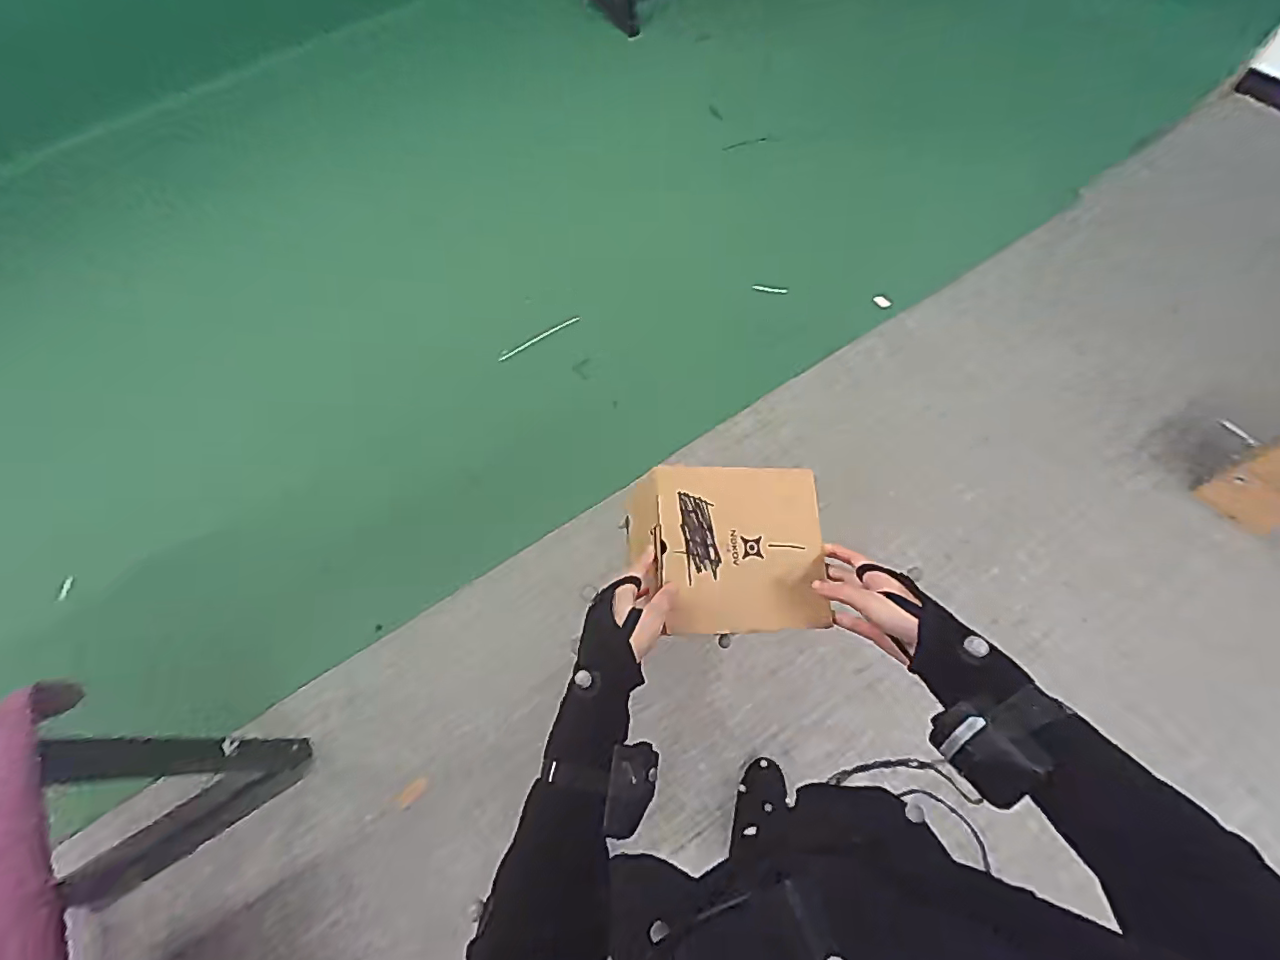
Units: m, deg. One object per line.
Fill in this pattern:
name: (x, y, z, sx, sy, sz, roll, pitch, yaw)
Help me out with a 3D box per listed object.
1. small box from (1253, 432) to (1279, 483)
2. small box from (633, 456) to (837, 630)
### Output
small box: (1.571, -0.064, 1.219, 0.179, 0.176, 0.168, -35, 66, -11)
small box: (0.089, 0.080, 0.602, 0.179, 0.176, 0.168, 3, 74, -13)
